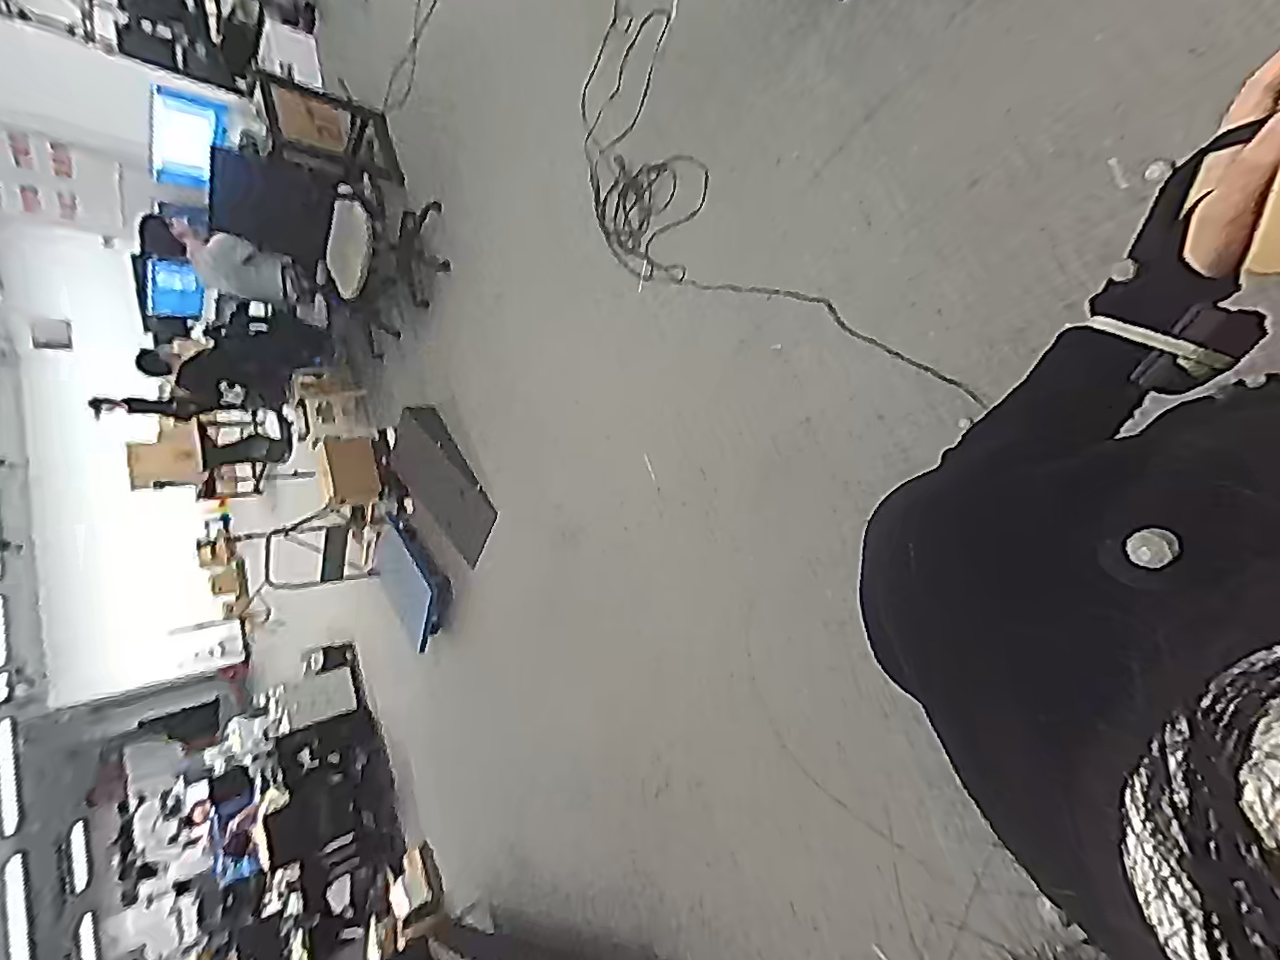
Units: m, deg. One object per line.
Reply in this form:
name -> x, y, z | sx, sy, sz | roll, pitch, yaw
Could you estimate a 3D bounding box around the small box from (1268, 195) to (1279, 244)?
small box -> 0.420, -0.193, 0.223 | 0.168, 0.176, 0.179 | 23, 121, 50
